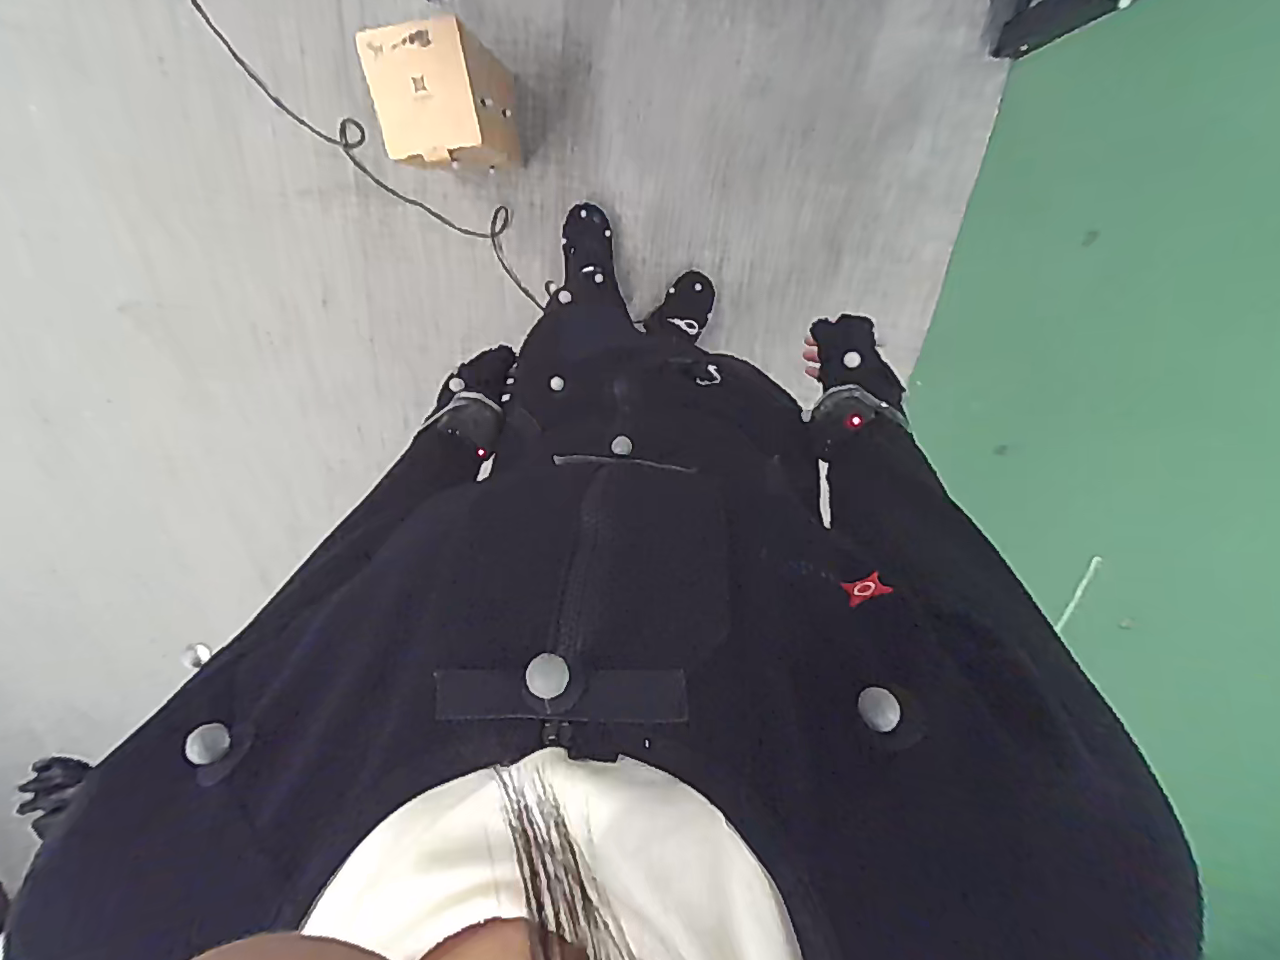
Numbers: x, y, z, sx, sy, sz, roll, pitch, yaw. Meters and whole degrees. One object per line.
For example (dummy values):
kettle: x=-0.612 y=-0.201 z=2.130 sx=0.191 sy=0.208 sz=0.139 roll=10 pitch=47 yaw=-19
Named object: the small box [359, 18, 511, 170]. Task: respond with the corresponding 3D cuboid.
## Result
small box: x=-0.340 y=-0.651 z=0.939 sx=0.168 sy=0.176 sz=0.179 roll=-7 pitch=114 yaw=9
